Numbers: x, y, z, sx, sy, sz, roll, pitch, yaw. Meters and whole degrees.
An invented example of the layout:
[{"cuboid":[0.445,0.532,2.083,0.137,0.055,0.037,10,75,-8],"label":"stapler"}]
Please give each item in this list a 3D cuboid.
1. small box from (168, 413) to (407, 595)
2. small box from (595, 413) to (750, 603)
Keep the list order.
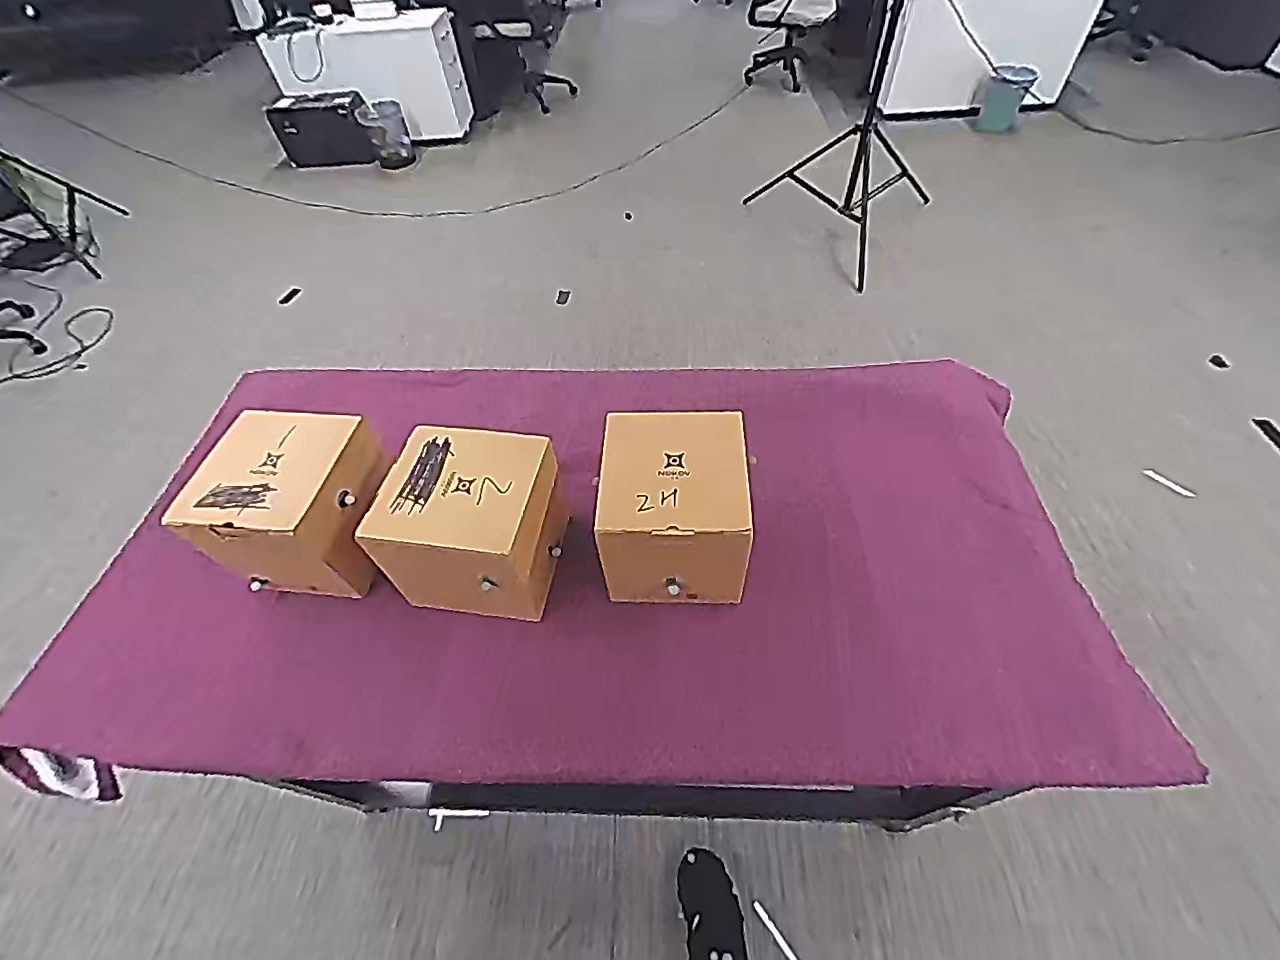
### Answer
[{"cuboid":[-0.435,0.035,0.709,0.168,0.176,0.179,4,53,7],"label":"small box"},{"cuboid":[0.042,0.035,0.675,0.168,0.176,0.179,0,52,5],"label":"small box"}]
